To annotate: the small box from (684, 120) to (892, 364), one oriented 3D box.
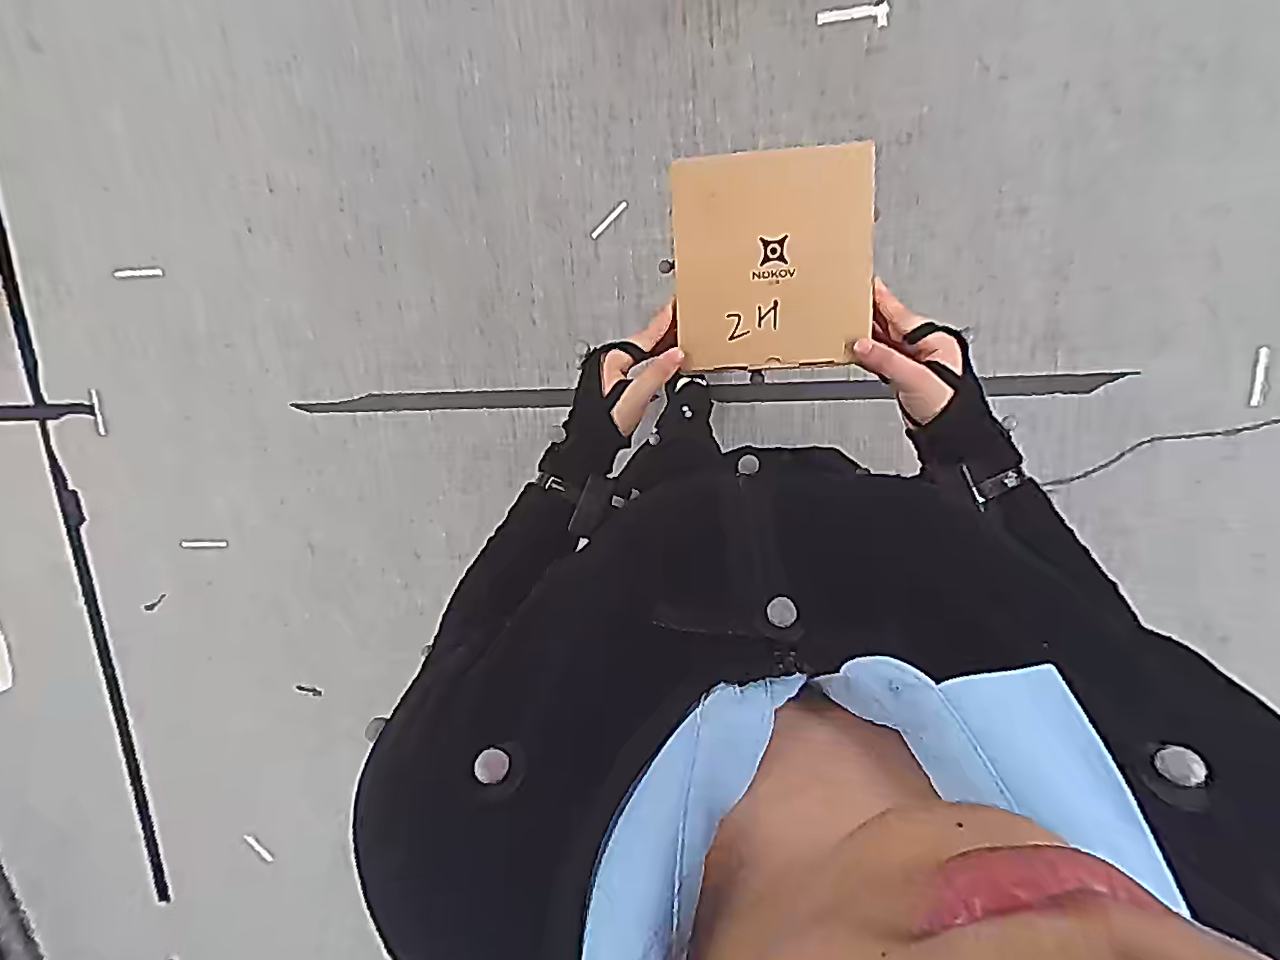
[{"bbox_3d":[0.127,-0.209,0.522,0.168,0.176,0.179,-2,100,6],"label":"small box"}]
